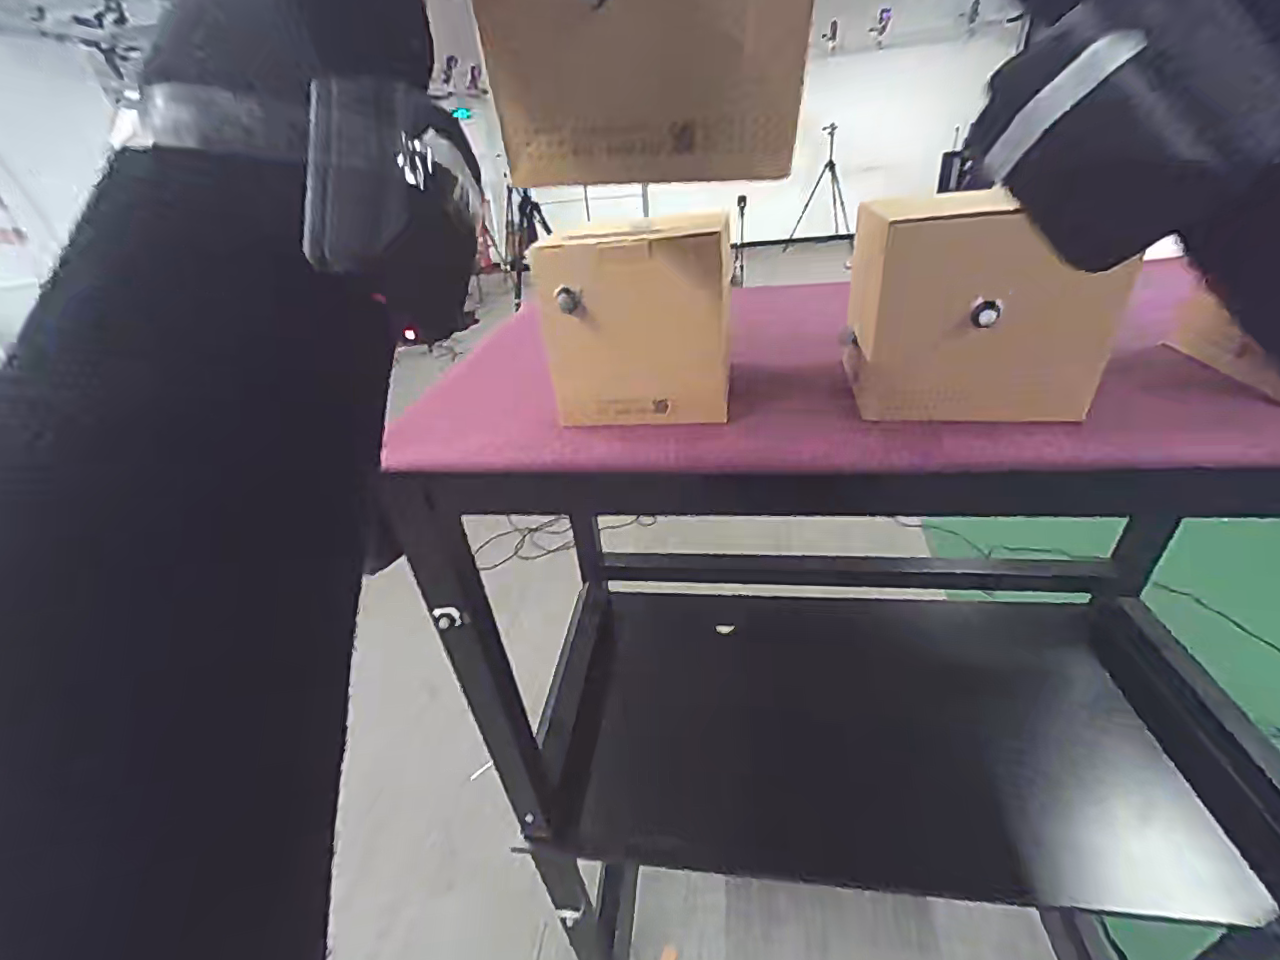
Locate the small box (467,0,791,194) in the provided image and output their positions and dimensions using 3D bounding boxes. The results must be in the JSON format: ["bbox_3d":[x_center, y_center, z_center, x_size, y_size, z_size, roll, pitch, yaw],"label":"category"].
[{"bbox_3d":[0.001,-0.290,0.327,0.168,0.176,0.179,0,49,6],"label":"small box"}]

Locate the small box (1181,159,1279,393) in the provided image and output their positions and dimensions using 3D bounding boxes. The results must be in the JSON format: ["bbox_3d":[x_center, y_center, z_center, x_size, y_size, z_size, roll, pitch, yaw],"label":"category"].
[{"bbox_3d":[0.609,-0.173,0.447,0.179,0.176,0.168,2,32,15],"label":"small box"}]

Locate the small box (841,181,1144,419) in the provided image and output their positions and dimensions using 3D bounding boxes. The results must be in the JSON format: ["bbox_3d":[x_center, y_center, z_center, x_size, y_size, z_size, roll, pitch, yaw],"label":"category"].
[{"bbox_3d":[0.289,-0.163,0.496,0.179,0.176,0.168,1,32,14],"label":"small box"}]
